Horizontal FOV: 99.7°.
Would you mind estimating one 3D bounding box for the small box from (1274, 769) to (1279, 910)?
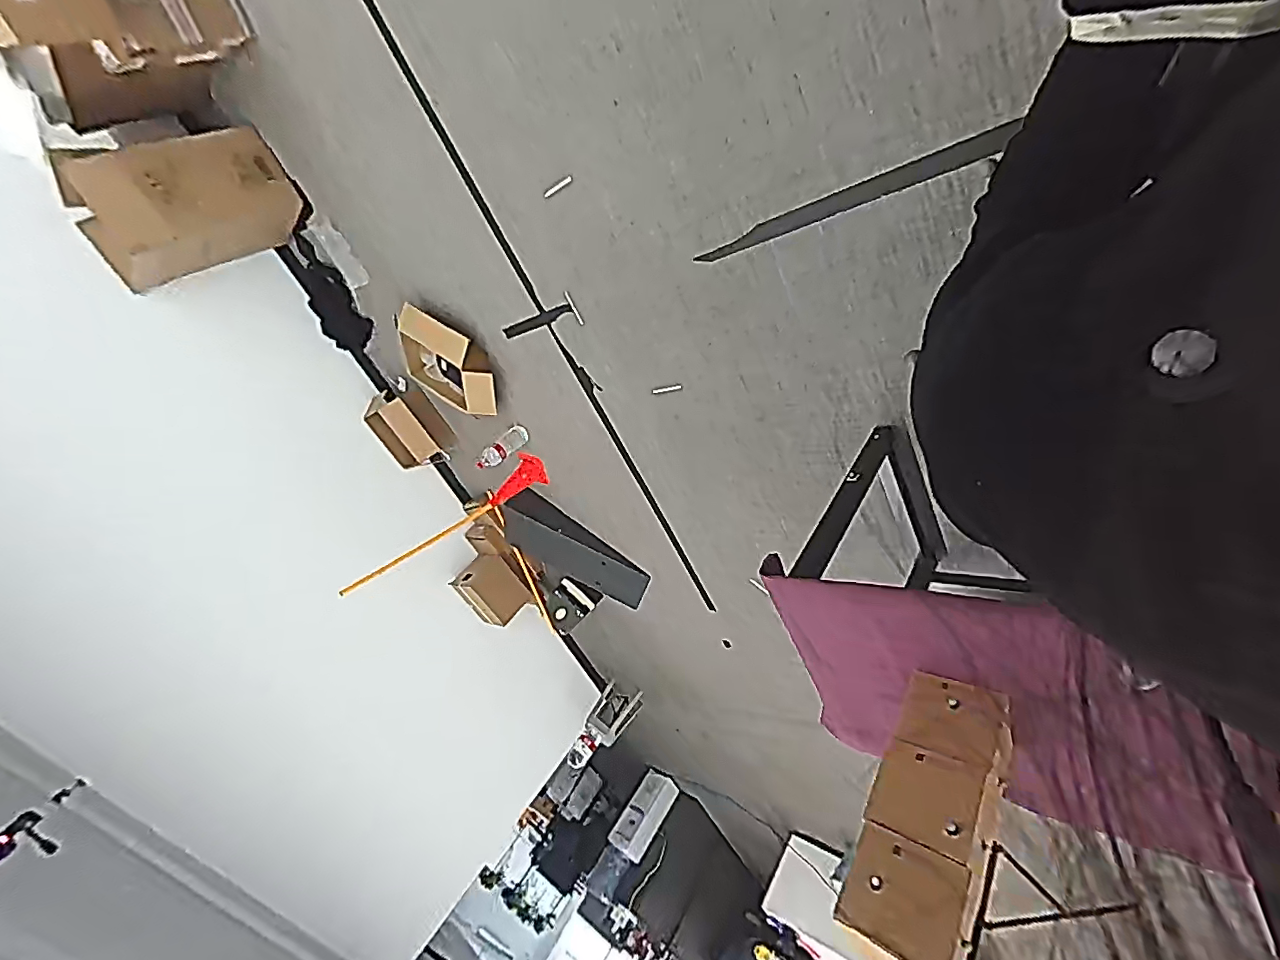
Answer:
[{"bbox_3d":[0.962,0.495,0.704,0.168,0.176,0.179,1,127,46],"label":"small box"}]

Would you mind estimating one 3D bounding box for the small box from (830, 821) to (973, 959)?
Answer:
[{"bbox_3d":[0.437,0.713,0.895,0.168,0.176,0.179,8,134,43],"label":"small box"}]

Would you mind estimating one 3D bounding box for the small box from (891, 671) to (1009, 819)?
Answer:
[{"bbox_3d":[0.625,0.521,1.082,0.168,0.176,0.179,5,130,42],"label":"small box"}]
